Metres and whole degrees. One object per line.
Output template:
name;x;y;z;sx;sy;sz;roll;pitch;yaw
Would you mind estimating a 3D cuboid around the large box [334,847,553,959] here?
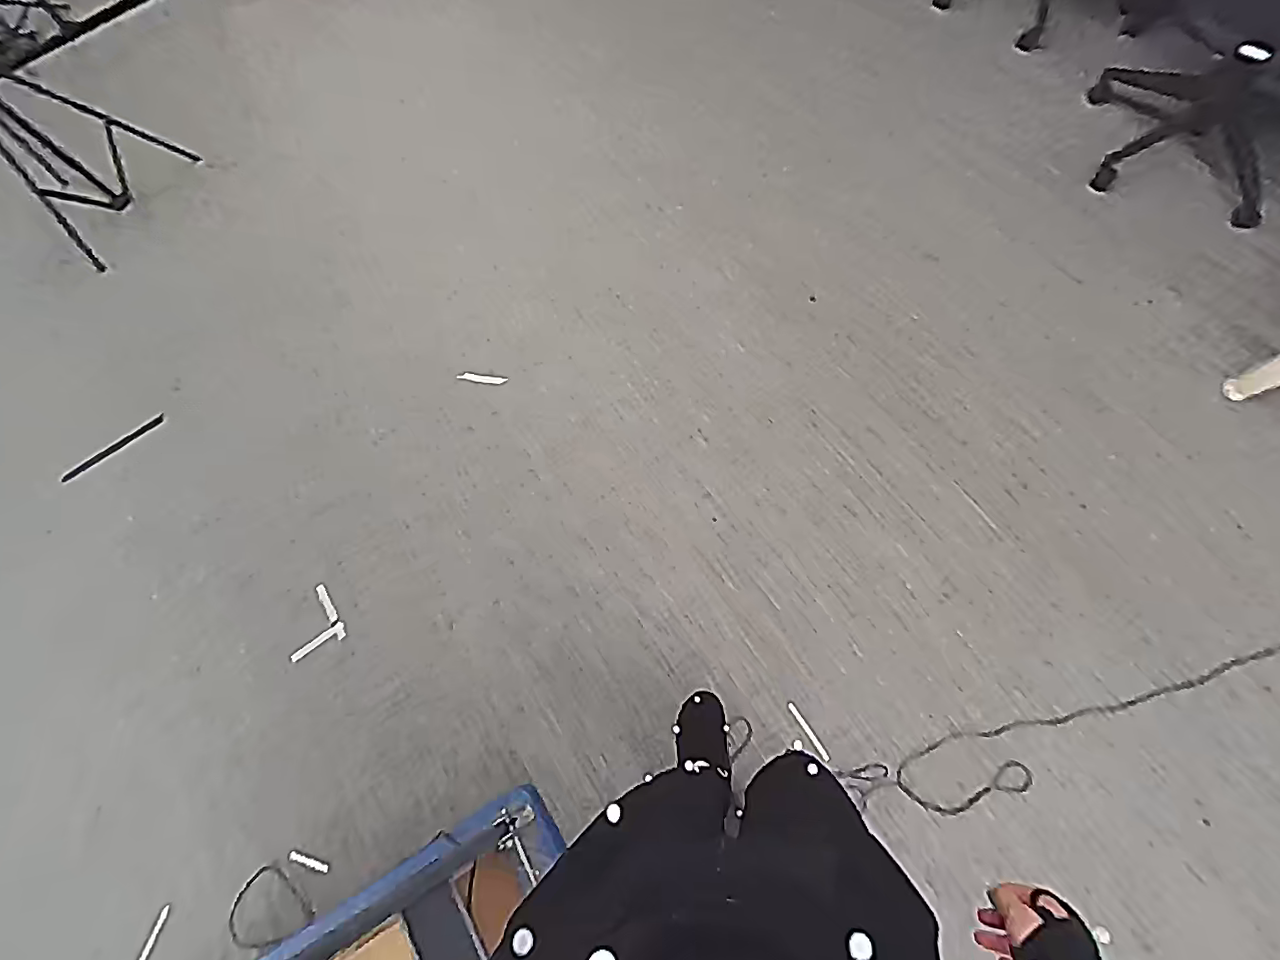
large box;-0.319;0.918;0.870;0.320;0.320;0.408;-32;68;-4
